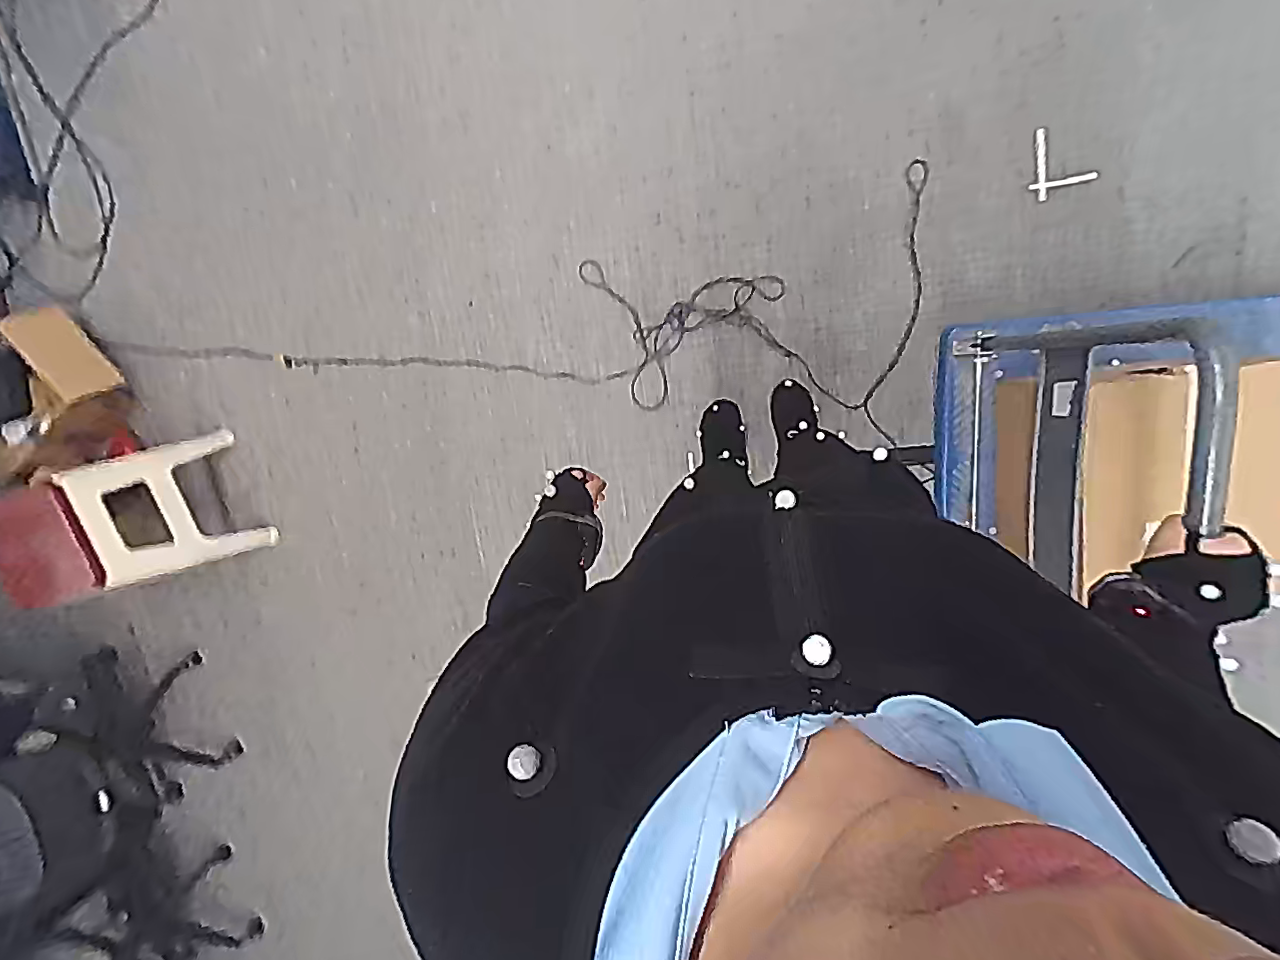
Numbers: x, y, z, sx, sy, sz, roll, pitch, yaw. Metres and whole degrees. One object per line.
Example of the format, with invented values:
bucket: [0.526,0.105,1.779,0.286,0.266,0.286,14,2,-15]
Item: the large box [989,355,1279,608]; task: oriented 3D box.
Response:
large box: [0.917,-0.013,1.045,0.320,0.320,0.408,-7,101,11]
